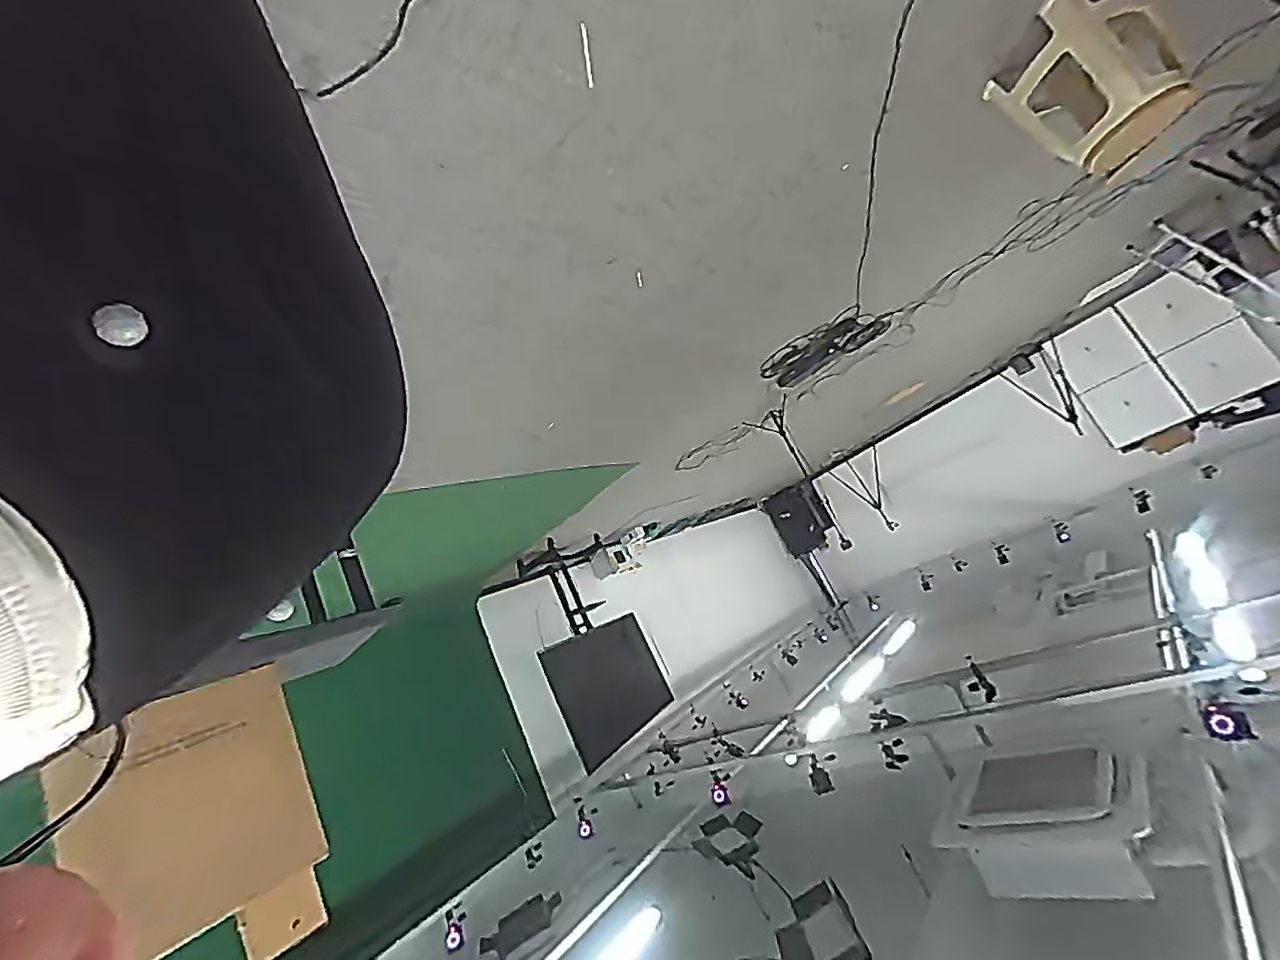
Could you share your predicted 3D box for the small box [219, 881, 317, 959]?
[{"bbox_3d":[-1.087,1.319,1.579,0.168,0.176,0.179,-40,161,32],"label":"small box"}]
